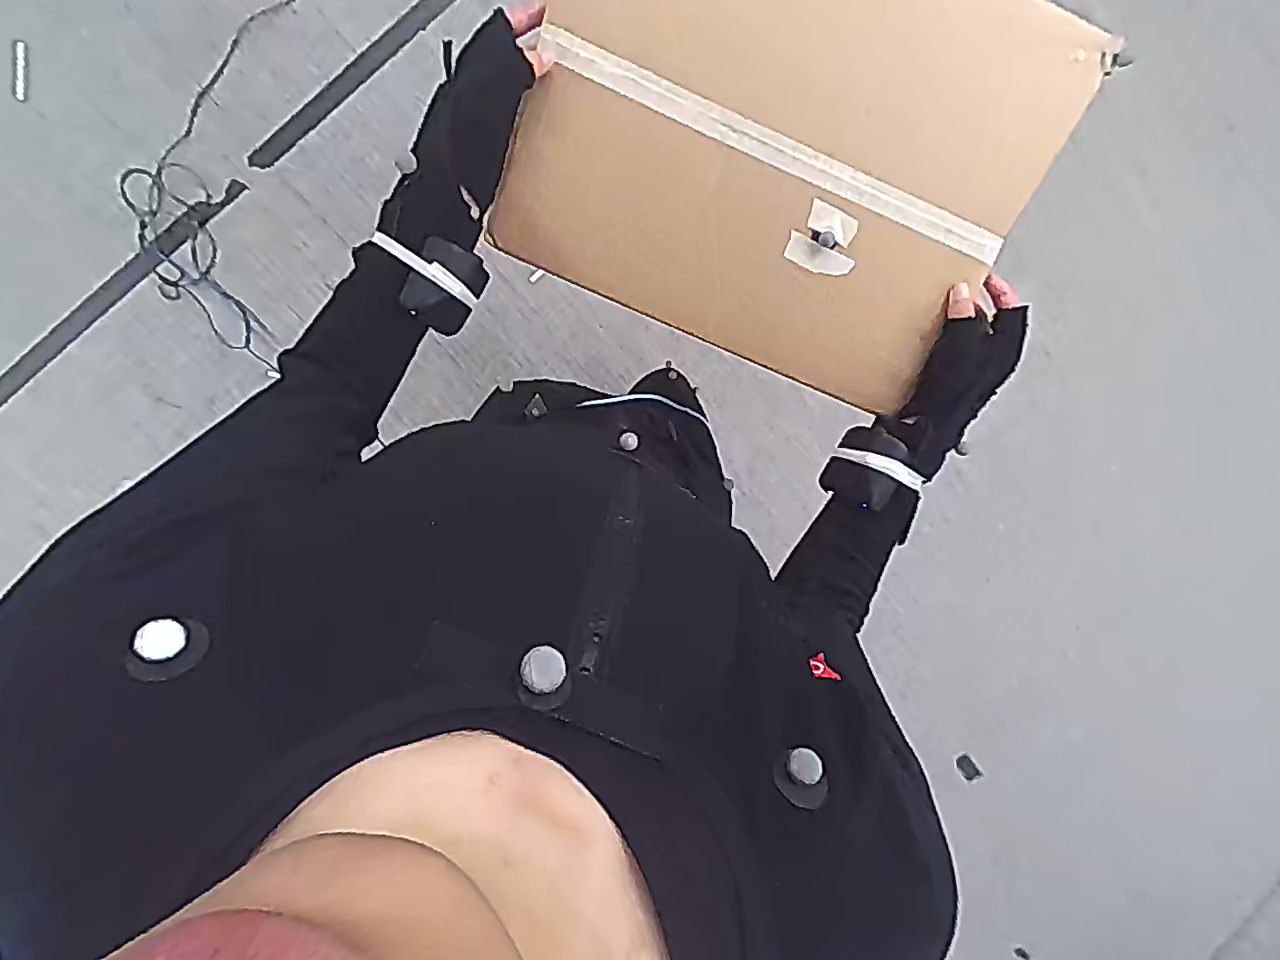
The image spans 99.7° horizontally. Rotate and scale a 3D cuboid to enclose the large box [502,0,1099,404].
[{"bbox_3d":[0.119,-0.323,0.584,0.408,0.320,0.320,22,111,-6],"label":"large box"}]
